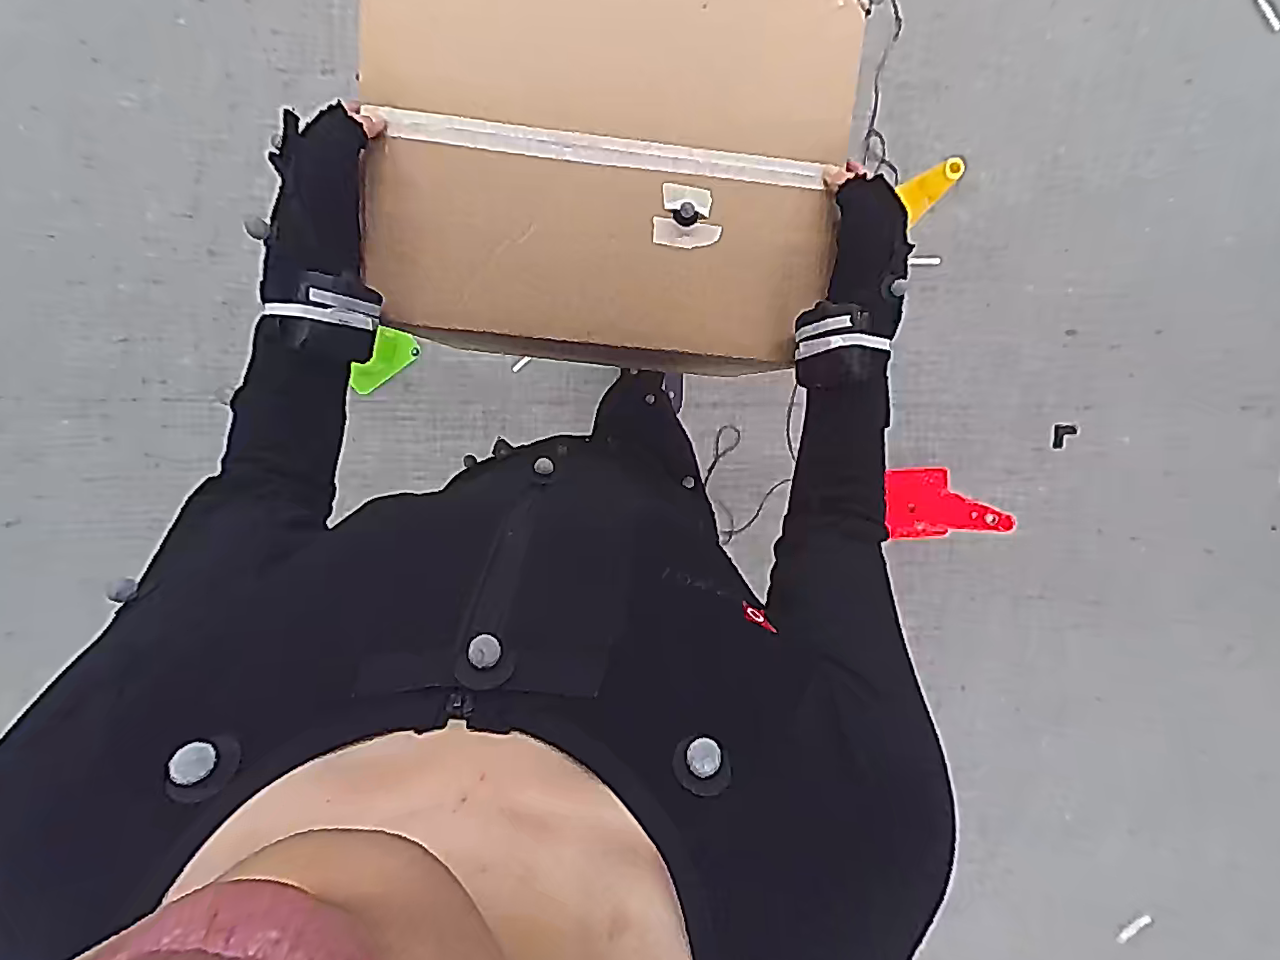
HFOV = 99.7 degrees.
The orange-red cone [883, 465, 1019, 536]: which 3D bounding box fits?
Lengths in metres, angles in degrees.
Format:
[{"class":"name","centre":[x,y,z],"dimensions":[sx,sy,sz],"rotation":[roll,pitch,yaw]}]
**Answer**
[{"class":"orange-red cone","centre":[0.791,0.069,1.347],"dimensions":[0.198,0.360,0.199],"rotation":[-2,94,-5]}]

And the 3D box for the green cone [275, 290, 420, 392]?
[{"class":"green cone","centre":[-0.685,-0.340,1.212],"dimensions":[0.202,0.368,0.200],"rotation":[-37,95,1]}]

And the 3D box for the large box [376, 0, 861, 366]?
[{"class":"large box","centre":[-0.033,-0.306,0.606],"dimensions":[0.408,0.320,0.320],"rotation":[4,99,-6]}]
